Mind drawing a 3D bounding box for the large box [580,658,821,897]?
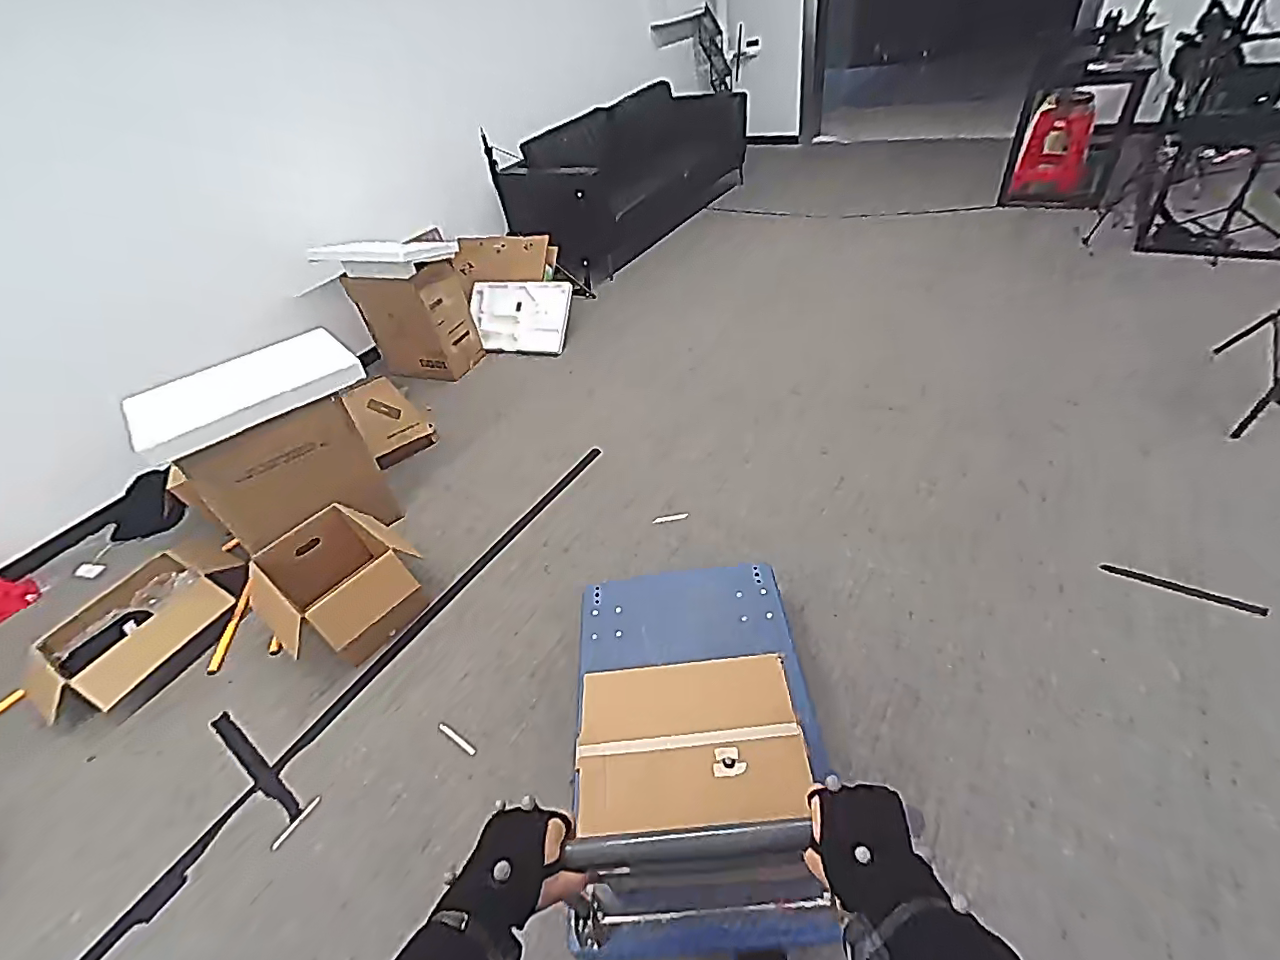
[{"bbox_3d":[0.106,0.596,1.082,0.408,0.320,0.320,-7,42,3],"label":"large box"}]
